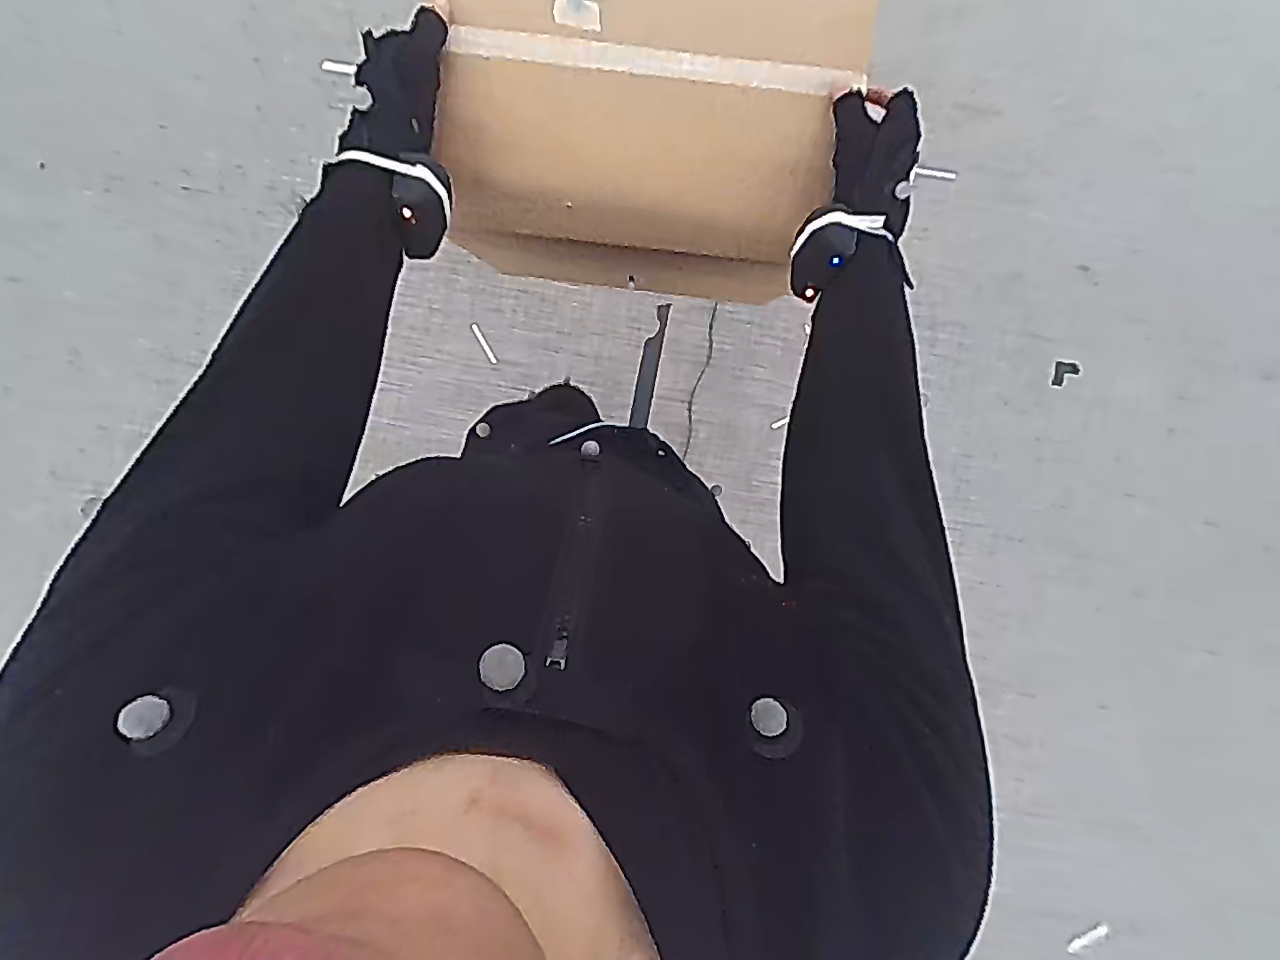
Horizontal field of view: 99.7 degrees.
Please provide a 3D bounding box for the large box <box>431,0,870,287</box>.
[{"bbox_3d":[0.009,-0.423,0.646,0.408,0.320,0.320,6,102,-1],"label":"large box"}]
